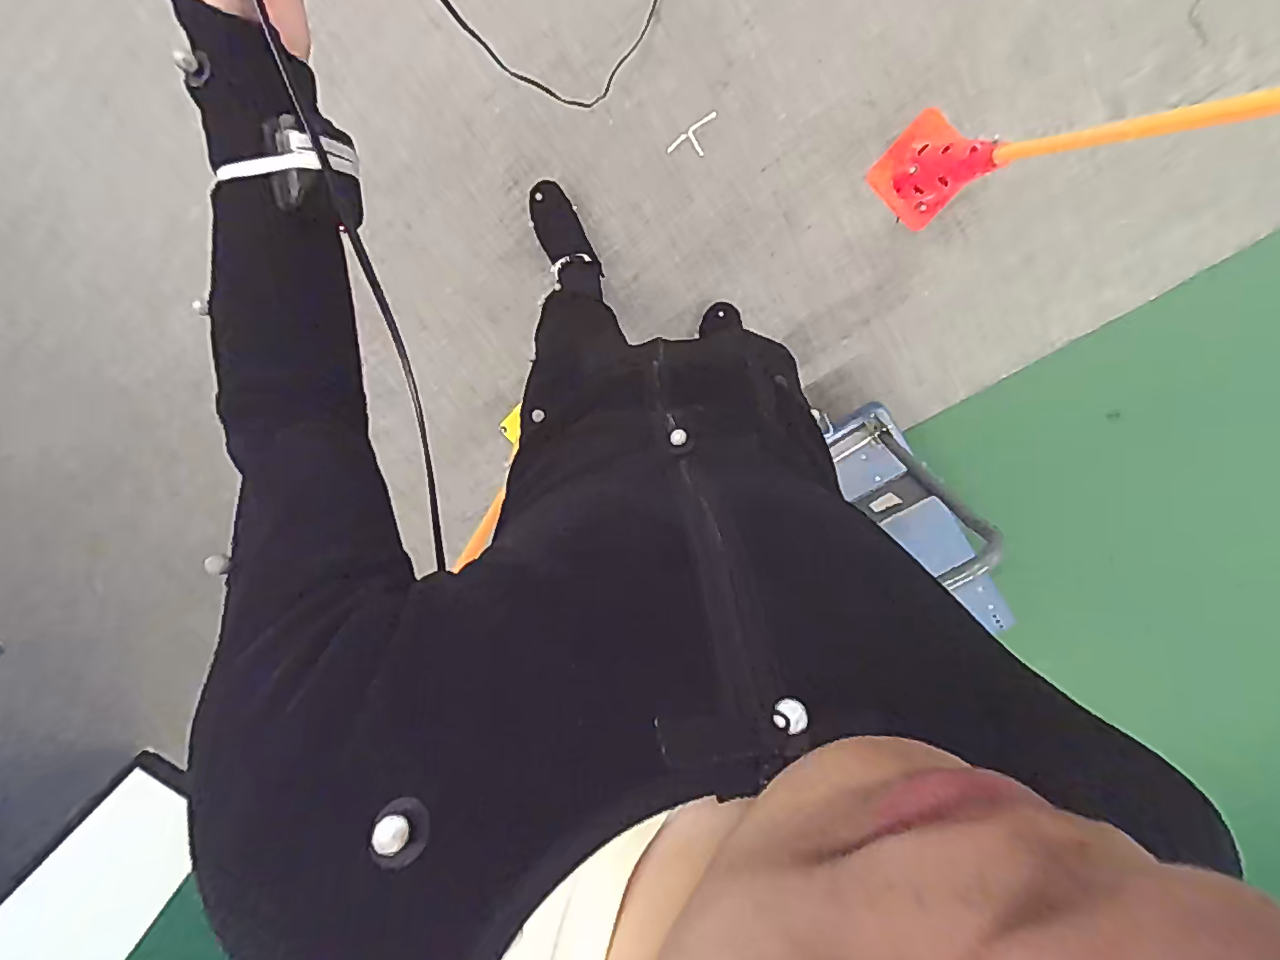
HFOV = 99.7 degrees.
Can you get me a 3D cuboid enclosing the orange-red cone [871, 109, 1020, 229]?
[{"bbox_3d":[0.678,-0.669,1.140,0.198,0.360,0.199,39,110,-15],"label":"orange-red cone"}]
